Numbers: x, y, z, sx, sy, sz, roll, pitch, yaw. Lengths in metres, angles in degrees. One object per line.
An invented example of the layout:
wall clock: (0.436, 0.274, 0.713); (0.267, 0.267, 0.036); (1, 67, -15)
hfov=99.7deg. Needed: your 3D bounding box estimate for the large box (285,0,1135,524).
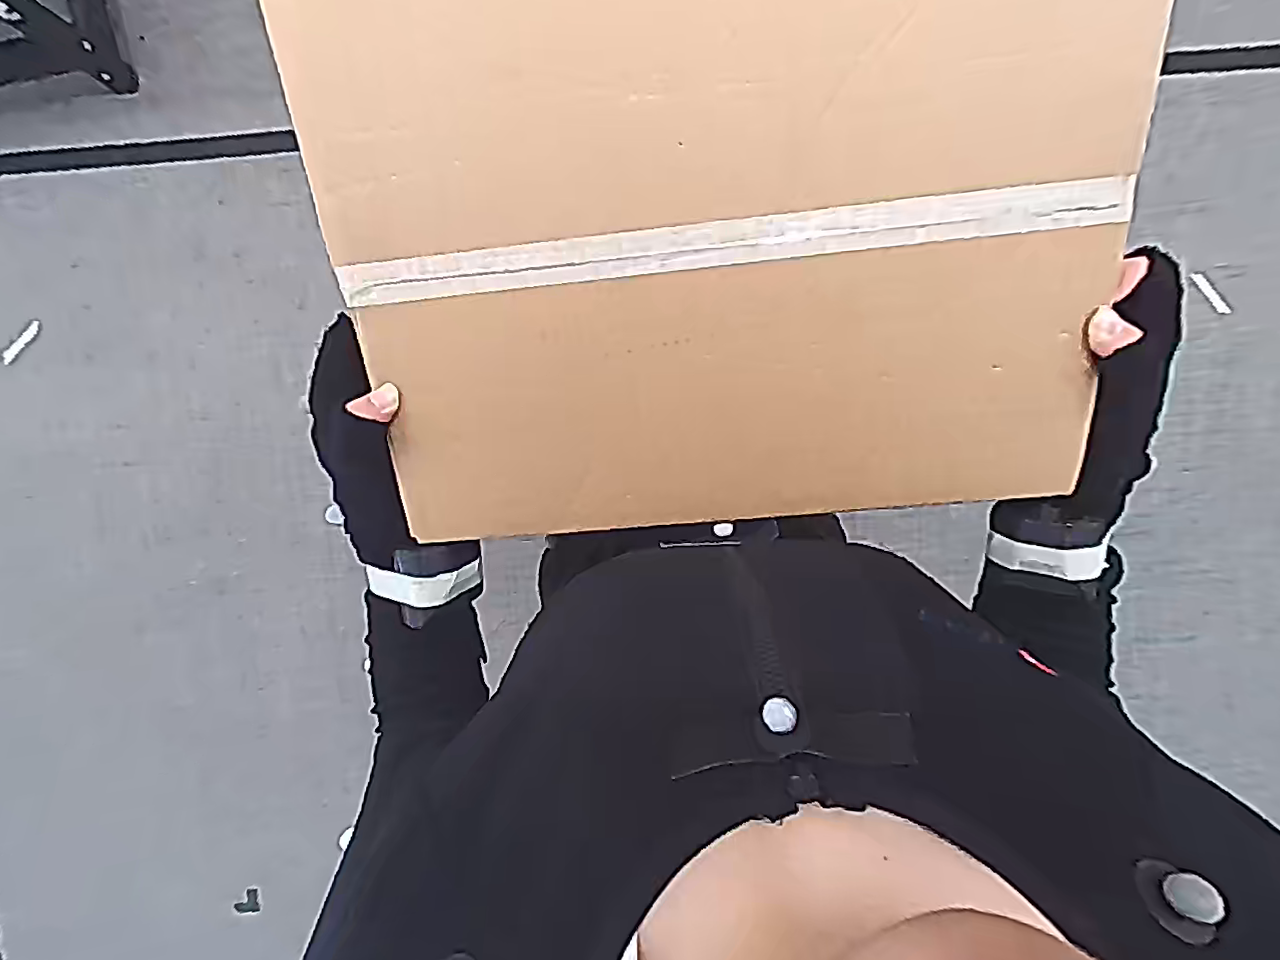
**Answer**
large box: (0.041, -0.183, 0.430); (0.408, 0.320, 0.320); (-5, 111, 3)
